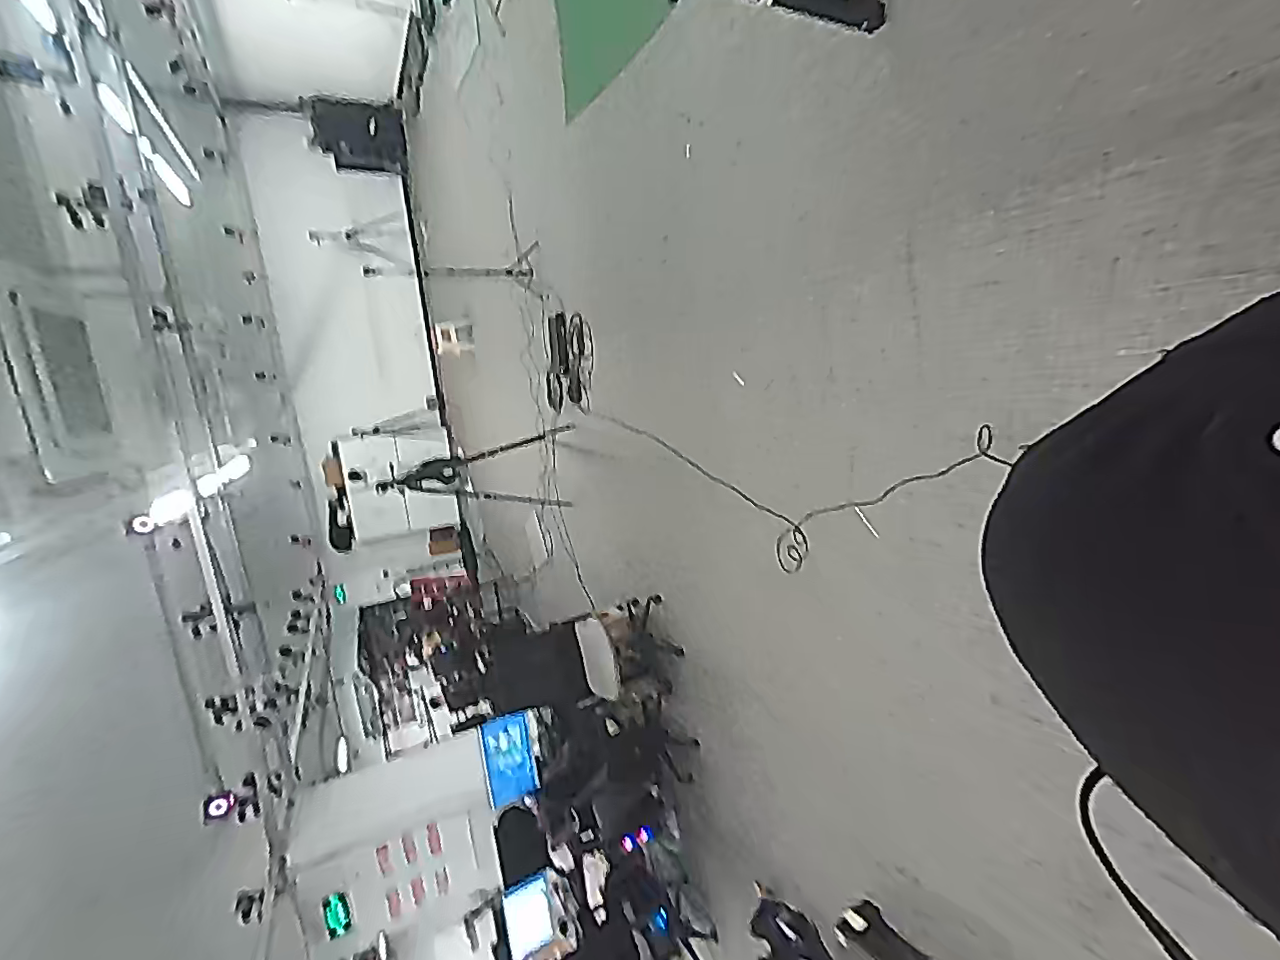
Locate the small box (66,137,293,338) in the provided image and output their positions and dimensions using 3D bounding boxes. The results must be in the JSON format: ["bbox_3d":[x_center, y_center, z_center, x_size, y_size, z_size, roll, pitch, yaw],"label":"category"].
[{"bbox_3d":[-0.653,-0.348,0.773,0.168,0.176,0.179,-33,159,-2],"label":"small box"}]
